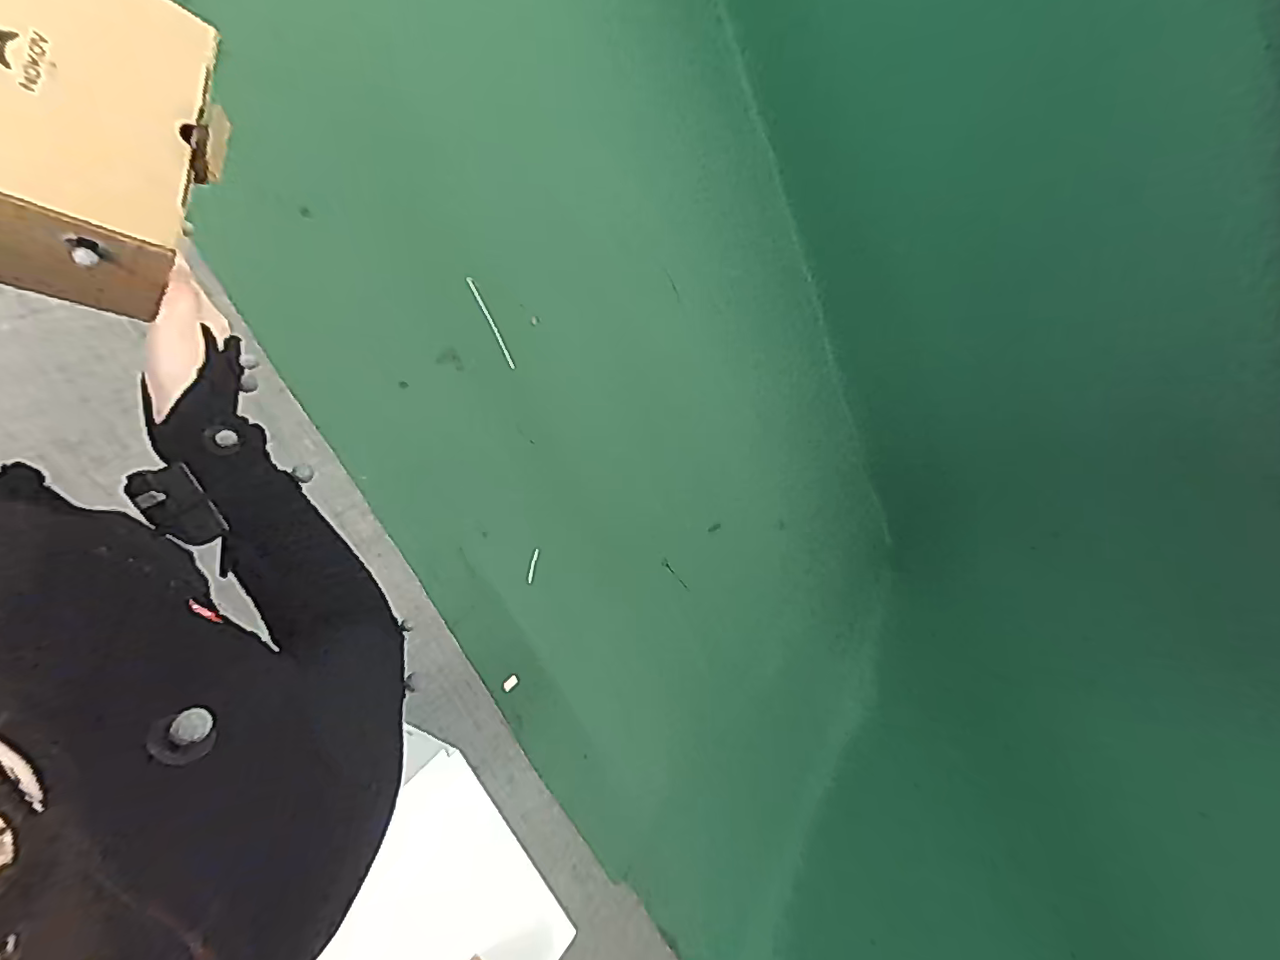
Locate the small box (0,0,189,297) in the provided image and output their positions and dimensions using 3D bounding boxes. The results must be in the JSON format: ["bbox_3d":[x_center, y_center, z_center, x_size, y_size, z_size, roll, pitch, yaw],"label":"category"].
[{"bbox_3d":[-0.416,-0.237,0.336,0.179,0.176,0.168,10,78,-46],"label":"small box"}]
